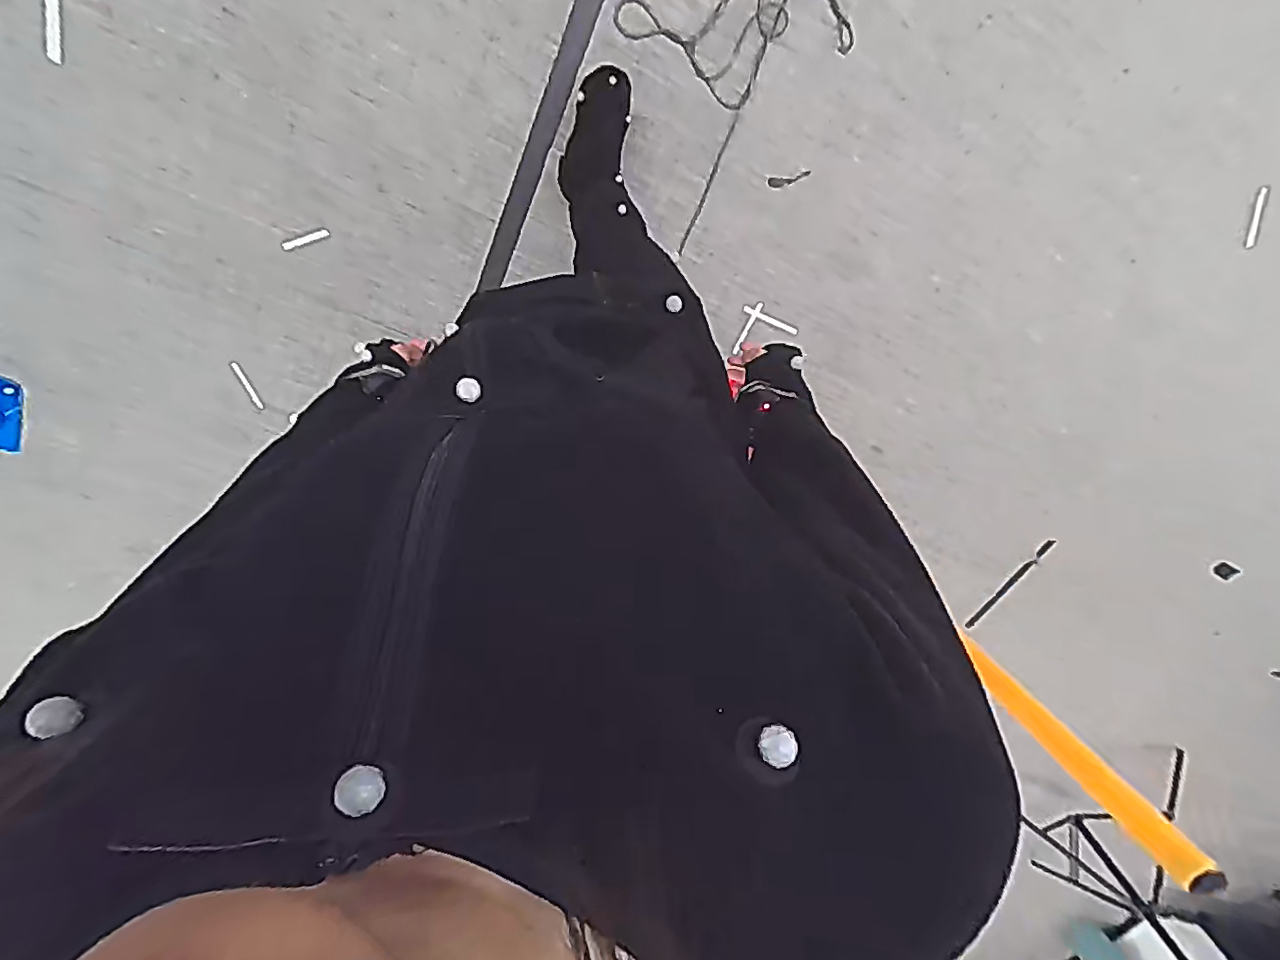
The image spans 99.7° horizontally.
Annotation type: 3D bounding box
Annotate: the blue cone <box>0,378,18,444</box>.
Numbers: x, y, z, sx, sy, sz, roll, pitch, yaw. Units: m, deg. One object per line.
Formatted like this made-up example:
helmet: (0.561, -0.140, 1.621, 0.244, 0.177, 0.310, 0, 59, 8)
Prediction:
blue cone: (-1.569, -0.110, 1.130, 0.193, 0.380, 0.192, 25, 112, -17)
